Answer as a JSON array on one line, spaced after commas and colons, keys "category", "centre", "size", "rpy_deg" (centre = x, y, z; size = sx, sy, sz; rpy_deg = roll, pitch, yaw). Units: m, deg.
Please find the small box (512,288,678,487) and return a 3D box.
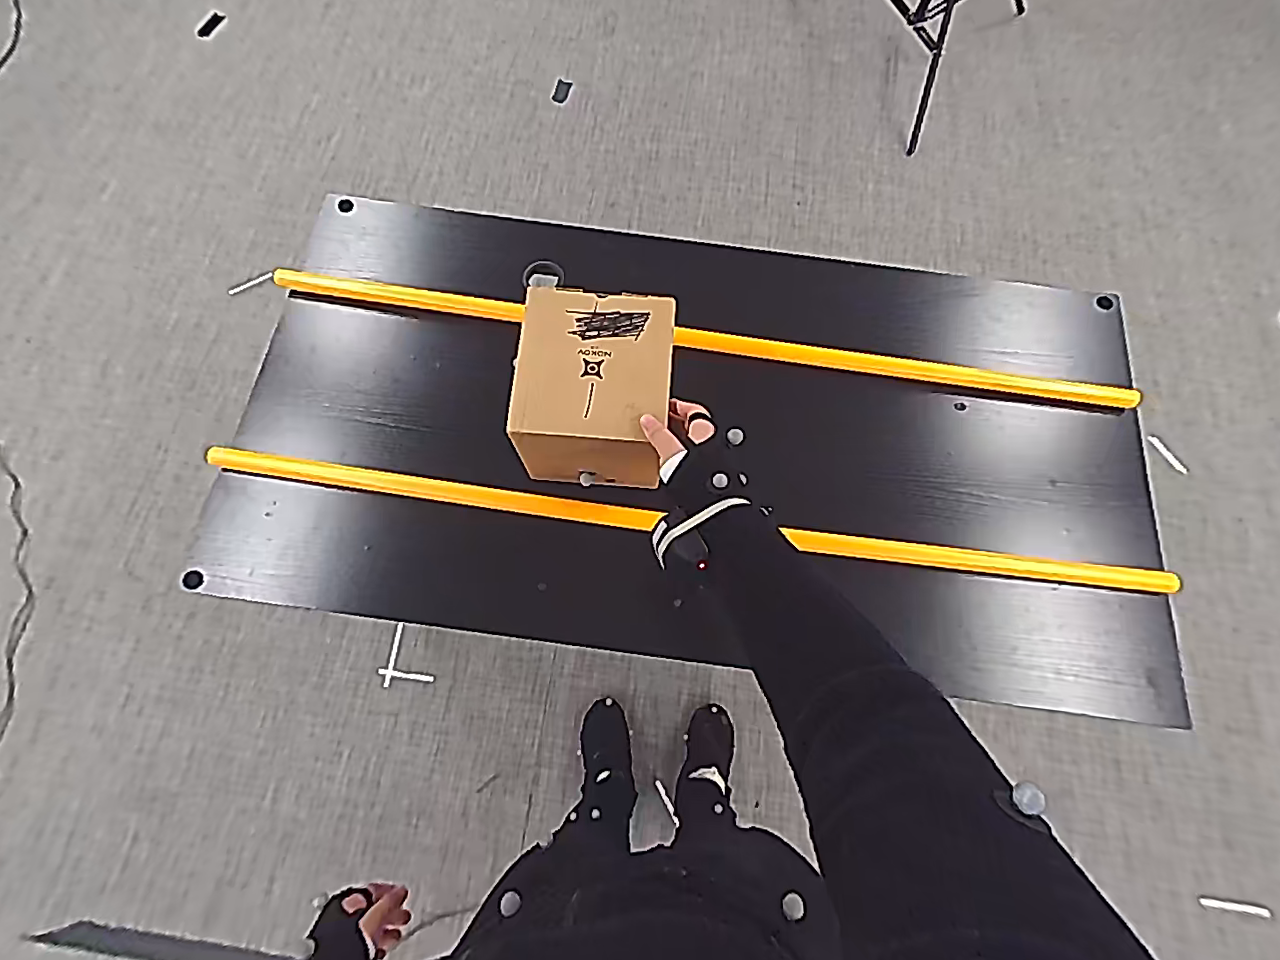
[{"category": "small box", "centre": [-0.048, -0.103, 0.658], "size": [0.168, 0.176, 0.179], "rpy_deg": [4, 73, 0]}]
